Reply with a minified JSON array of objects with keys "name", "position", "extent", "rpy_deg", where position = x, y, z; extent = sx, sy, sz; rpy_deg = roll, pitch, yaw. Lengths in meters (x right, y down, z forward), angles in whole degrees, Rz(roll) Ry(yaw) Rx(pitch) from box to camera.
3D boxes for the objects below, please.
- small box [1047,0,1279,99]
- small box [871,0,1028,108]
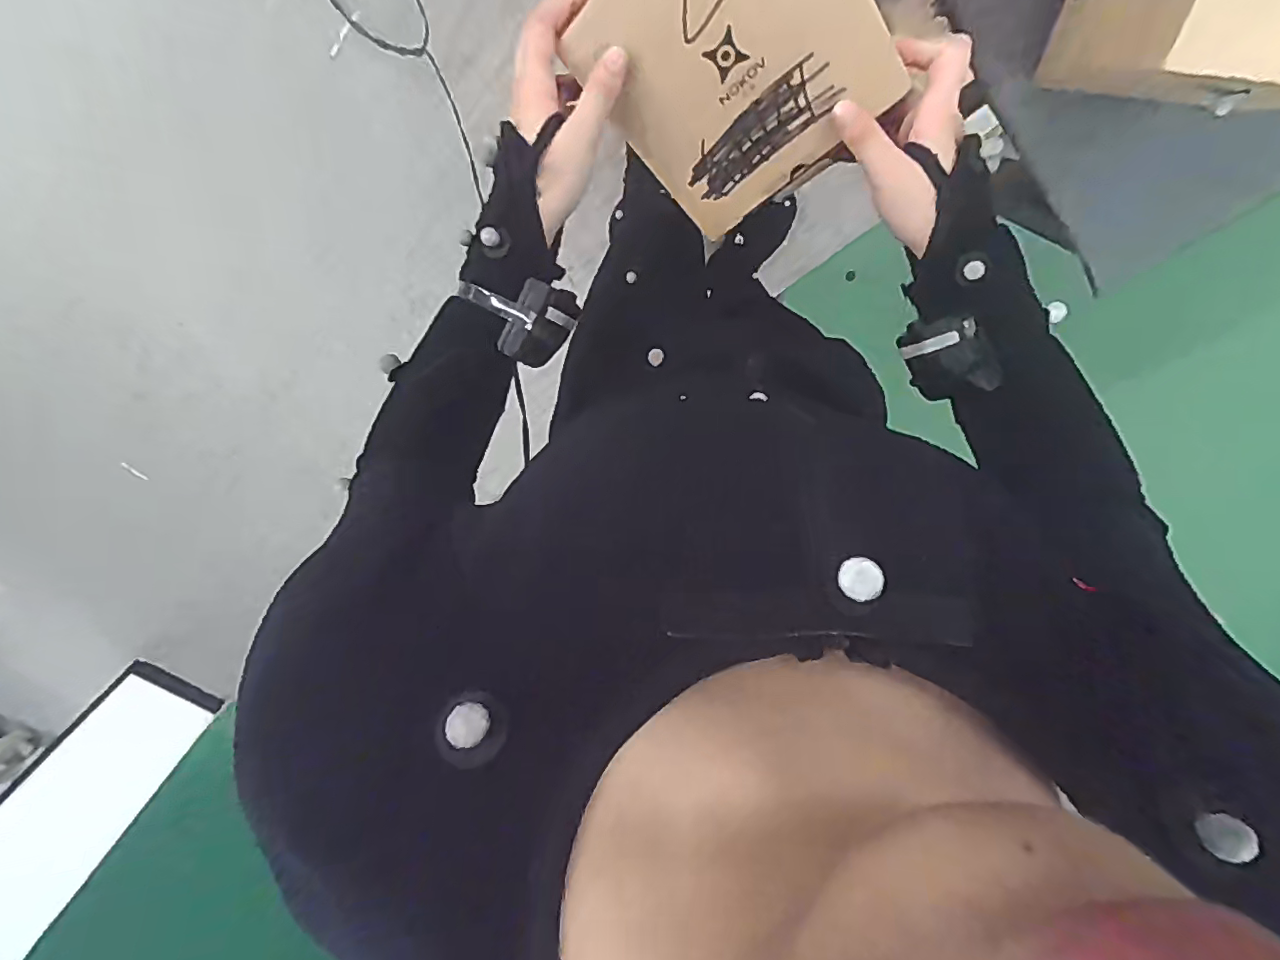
[{"name":"small box","position":[0.414,-0.351,0.340],"extent":[0.179,0.176,0.168],"rpy_deg":[9,125,2]},{"name":"small box","position":[0.518,-0.778,0.925],"extent":[0.168,0.176,0.179],"rpy_deg":[-26,119,26]}]
